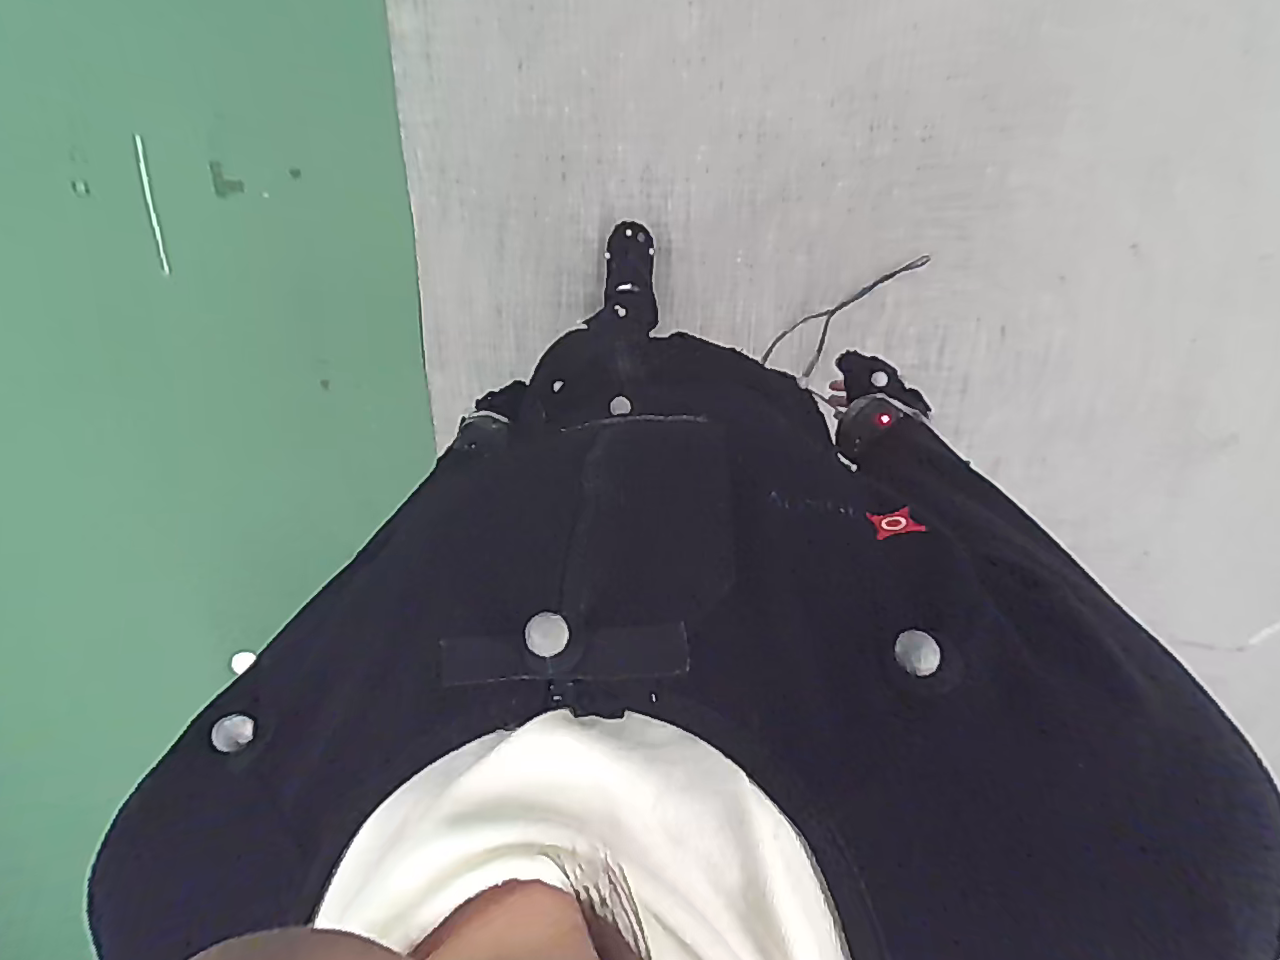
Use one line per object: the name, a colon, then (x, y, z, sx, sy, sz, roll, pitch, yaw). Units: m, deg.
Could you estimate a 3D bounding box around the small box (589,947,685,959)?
small box: (-0.013, 0.920, 0.894, 0.179, 0.176, 0.168, 0, 109, 4)
